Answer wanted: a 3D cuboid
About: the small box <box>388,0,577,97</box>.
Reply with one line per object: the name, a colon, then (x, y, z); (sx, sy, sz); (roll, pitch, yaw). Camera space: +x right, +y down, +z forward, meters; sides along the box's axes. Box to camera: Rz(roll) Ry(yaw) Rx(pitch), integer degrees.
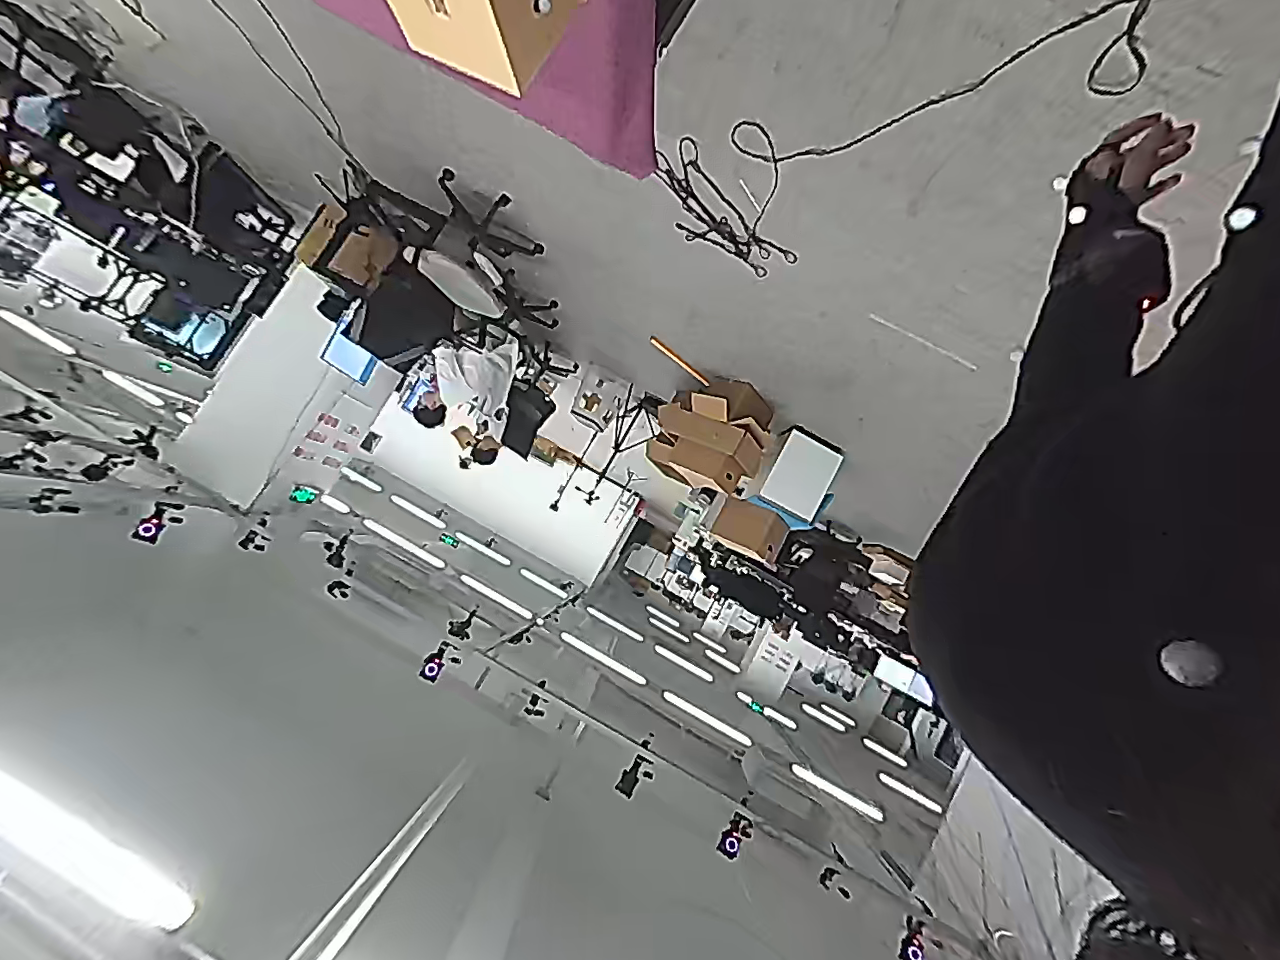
small box: (-0.183, -0.595, 0.610); (0.179, 0.176, 0.168); (29, 173, 10)
